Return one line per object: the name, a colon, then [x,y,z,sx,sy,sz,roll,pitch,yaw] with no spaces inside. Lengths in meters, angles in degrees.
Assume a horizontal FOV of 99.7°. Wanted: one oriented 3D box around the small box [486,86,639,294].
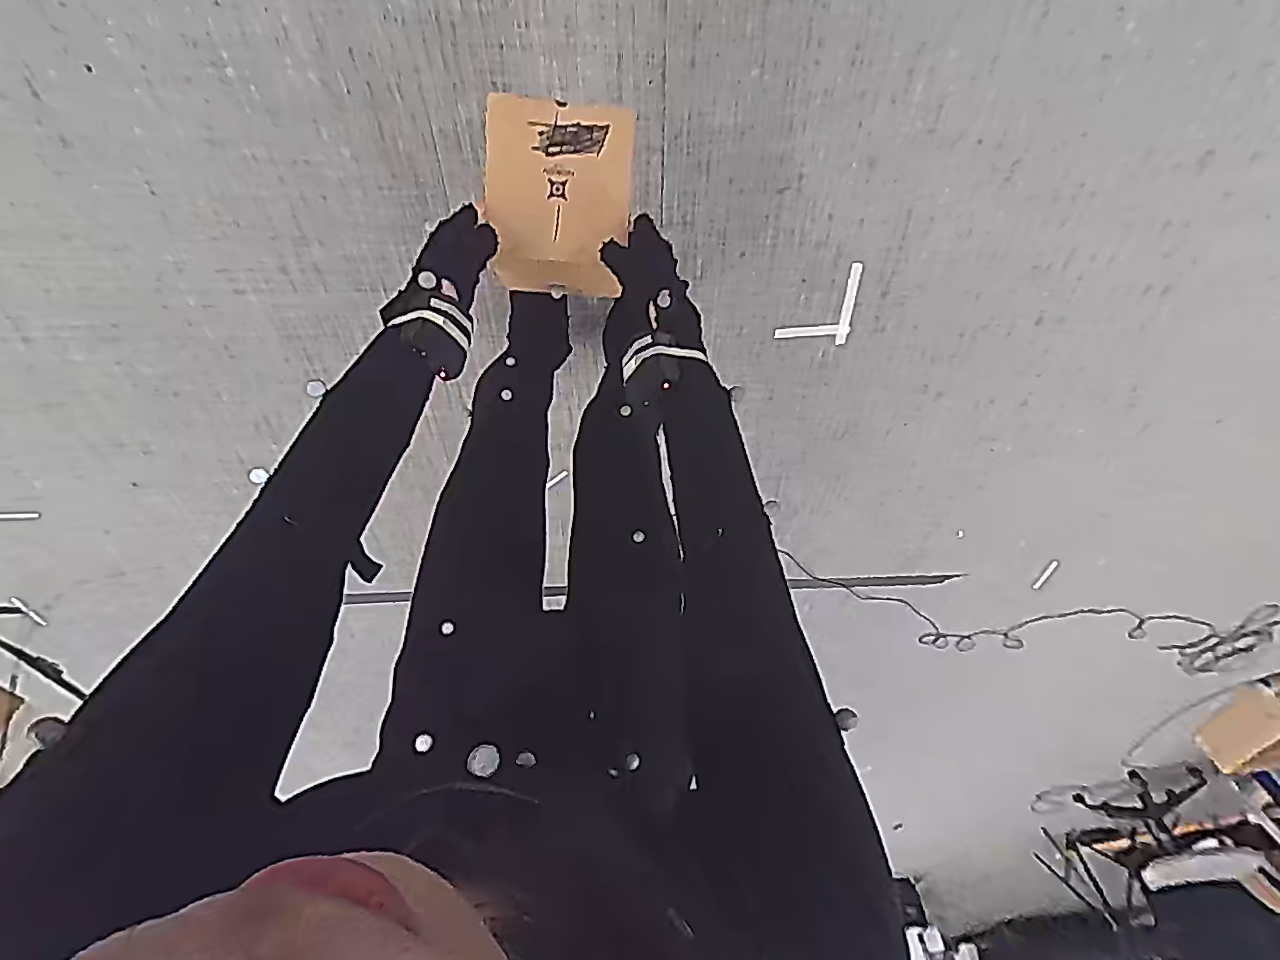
small box: [-0.095,-0.351,0.687,0.168,0.176,0.179,3,97,-6]
